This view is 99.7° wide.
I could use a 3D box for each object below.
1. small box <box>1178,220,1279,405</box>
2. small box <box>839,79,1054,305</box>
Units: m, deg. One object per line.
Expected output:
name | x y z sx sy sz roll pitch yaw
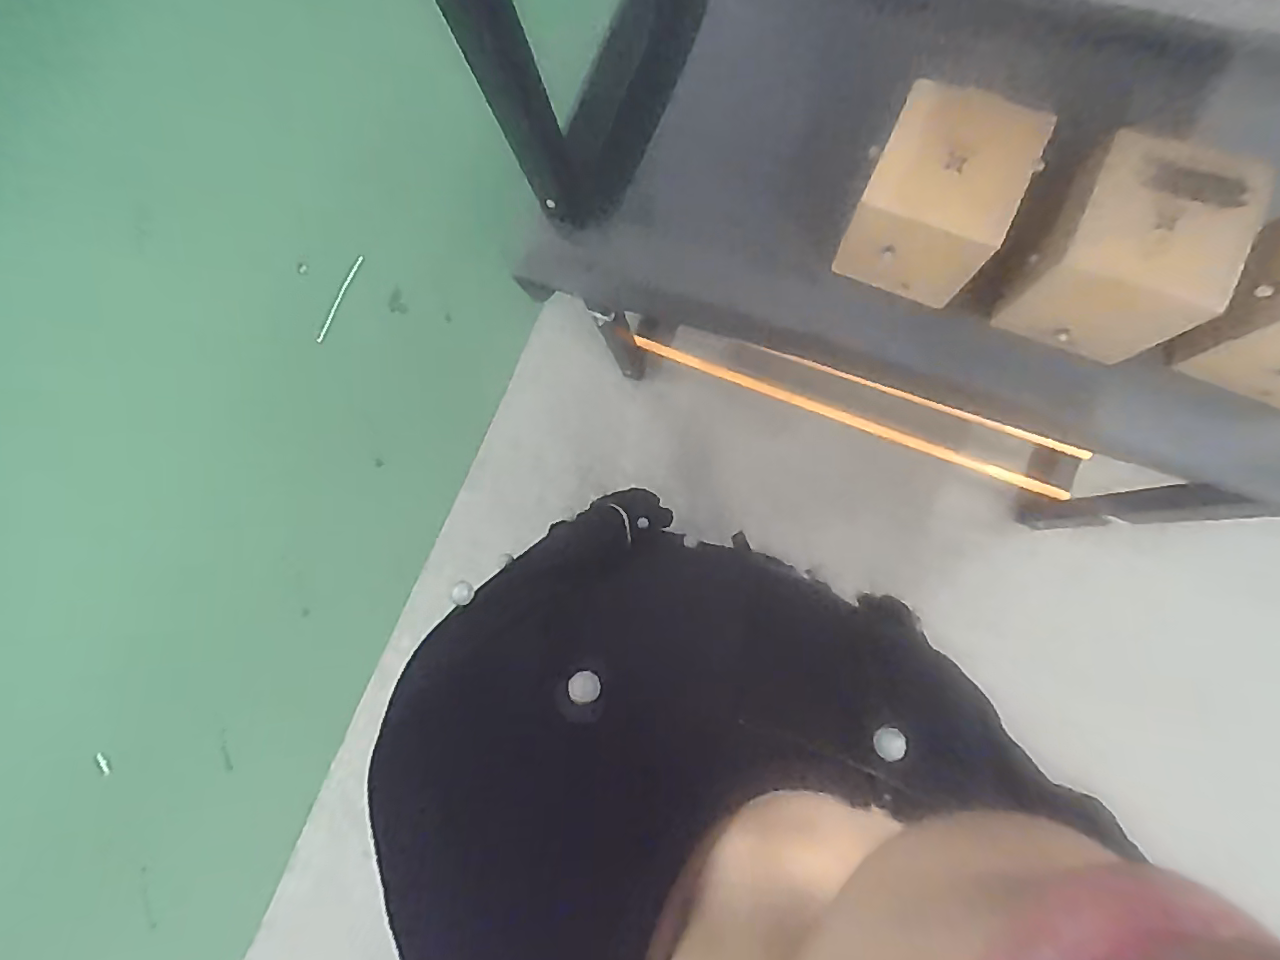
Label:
small box | 0.793 -0.200 0.623 0.168 0.176 0.179 26 86 10
small box | 0.378 -0.360 0.706 0.168 0.176 0.179 25 86 11
